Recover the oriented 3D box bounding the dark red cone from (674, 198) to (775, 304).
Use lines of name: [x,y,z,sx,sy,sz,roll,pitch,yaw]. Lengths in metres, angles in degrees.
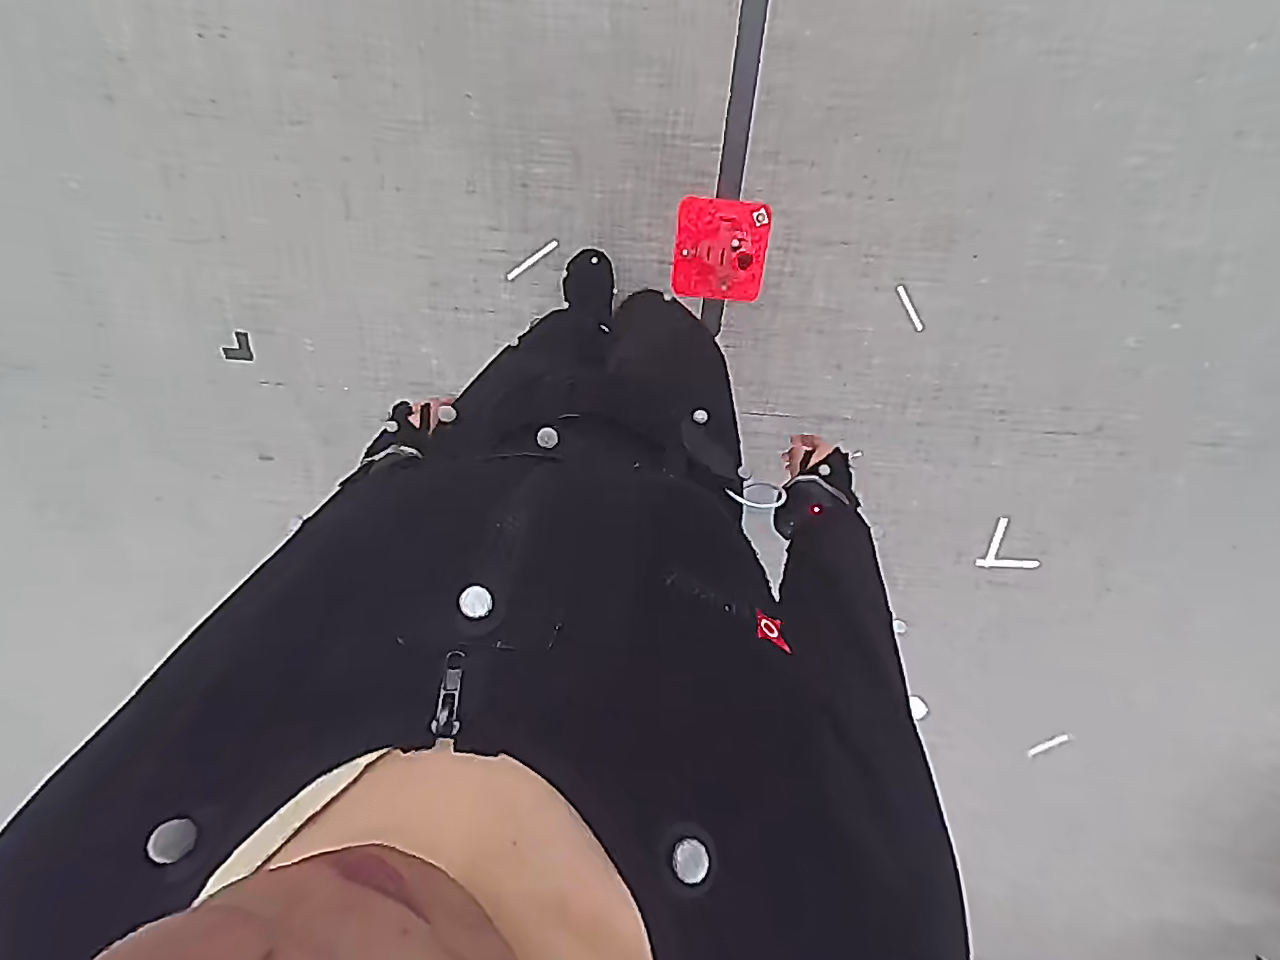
dark red cone: [0.170,-0.412,1.004,0.201,0.394,0.202,4,116,1]
